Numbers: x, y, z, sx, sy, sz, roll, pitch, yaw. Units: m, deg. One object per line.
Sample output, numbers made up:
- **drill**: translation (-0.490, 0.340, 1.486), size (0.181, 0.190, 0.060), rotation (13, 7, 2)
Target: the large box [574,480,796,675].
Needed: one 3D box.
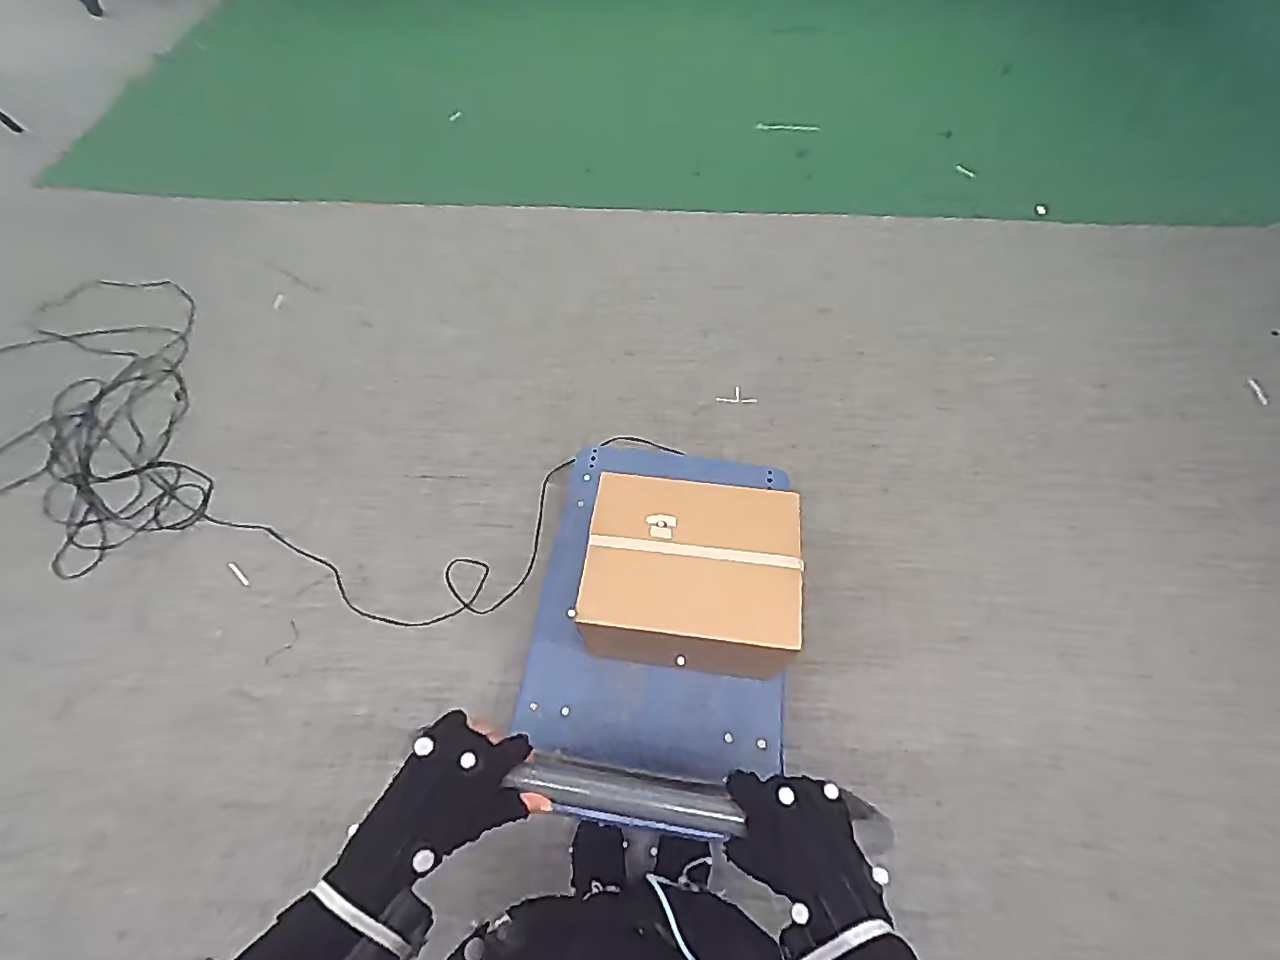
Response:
- **large box**: translation (0.101, 0.220, 1.166), size (0.408, 0.320, 0.320), rotation (6, 60, 5)
